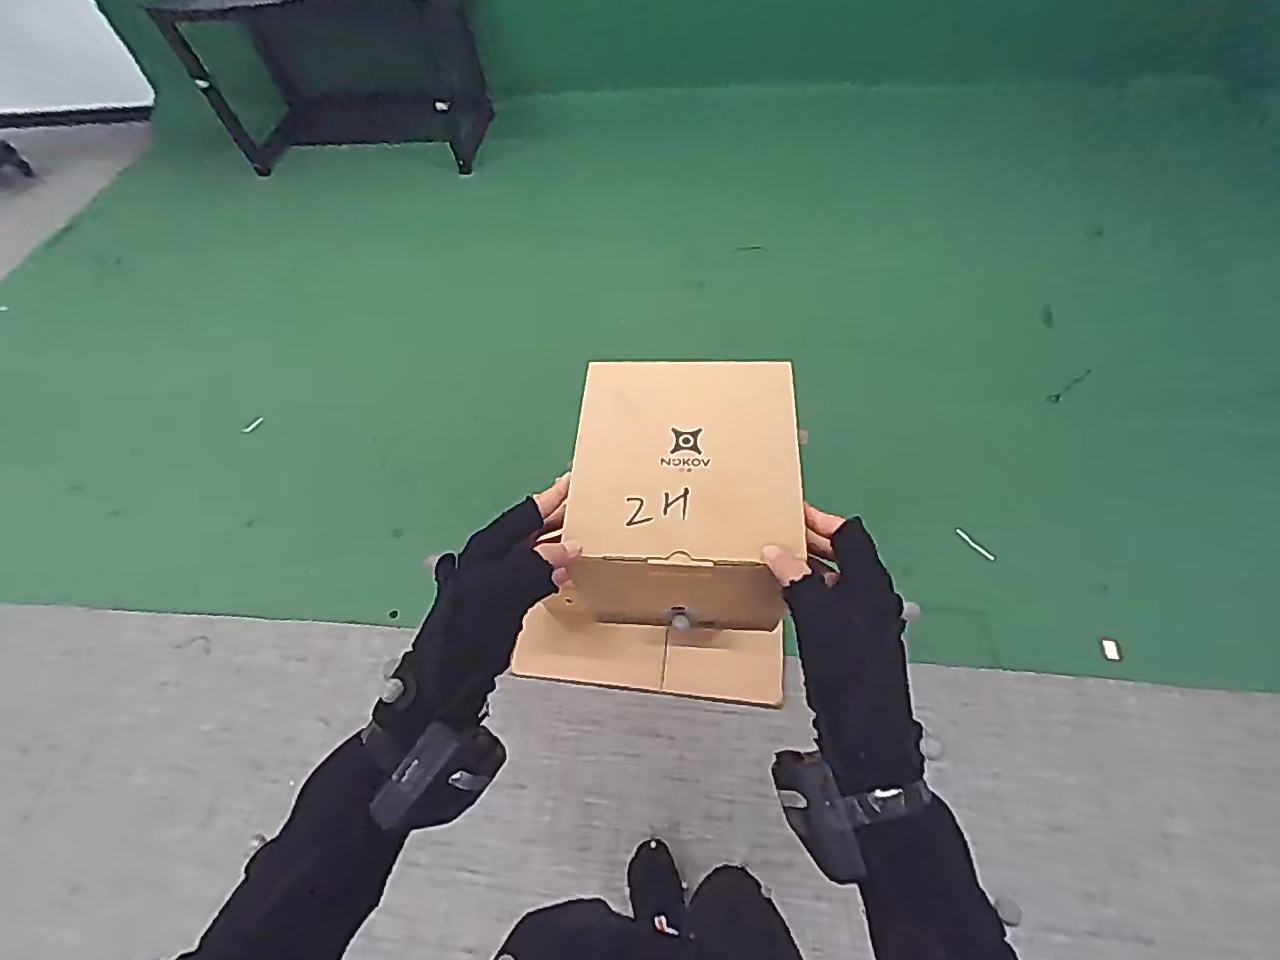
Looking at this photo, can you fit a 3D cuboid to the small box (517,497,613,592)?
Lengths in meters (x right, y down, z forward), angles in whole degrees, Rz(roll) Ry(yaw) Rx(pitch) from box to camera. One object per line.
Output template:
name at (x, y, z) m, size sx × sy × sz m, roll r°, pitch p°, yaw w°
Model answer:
small box at (-0.171, 0.160, 1.307) m, size 0.179 × 0.176 × 0.168 m, roll 5°, pitch 58°, yaw 11°

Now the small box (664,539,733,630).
small box at (0.151, 0.273, 1.404) m, size 0.168 × 0.176 × 0.179 m, roll 2°, pitch 58°, yaw 7°
